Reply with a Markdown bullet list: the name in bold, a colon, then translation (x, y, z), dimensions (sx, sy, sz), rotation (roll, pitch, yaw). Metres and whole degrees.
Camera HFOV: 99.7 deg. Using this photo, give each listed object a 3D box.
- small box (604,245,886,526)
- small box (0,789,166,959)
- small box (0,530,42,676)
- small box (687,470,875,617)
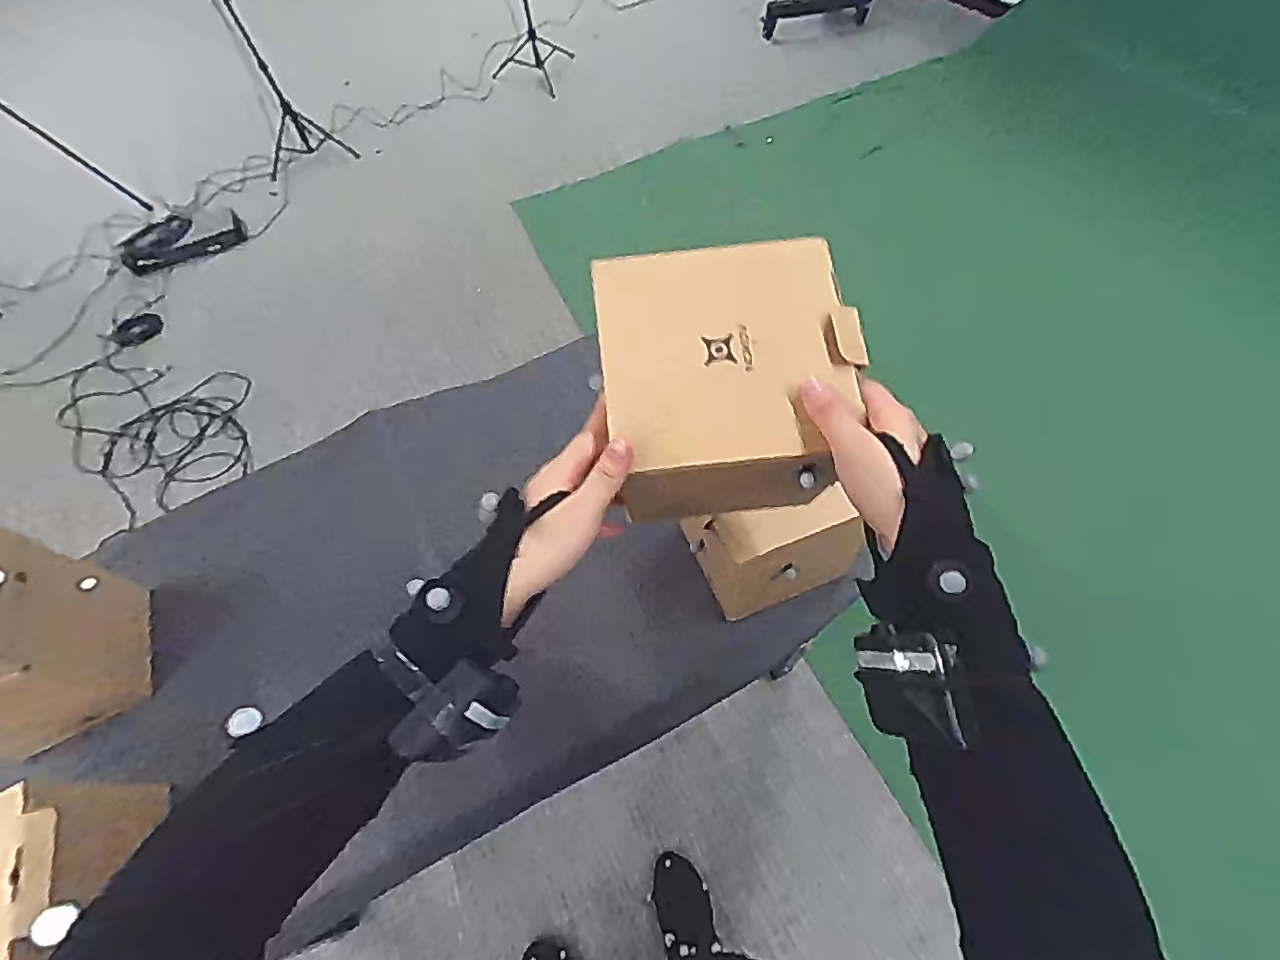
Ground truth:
- **small box**: translation (0.070, -0.063, 0.449), dimensions (0.179, 0.176, 0.168), rotation (-6, 74, 0)
- **small box**: translation (-0.616, 0.428, 0.531), dimensions (0.179, 0.176, 0.168), rotation (-25, 61, -9)
- **small box**: translation (-0.766, 0.133, 0.527), dimensions (0.179, 0.176, 0.168), rotation (-25, 62, -11)
- **small box**: translation (0.159, 0.049, 0.685), dimensions (0.179, 0.176, 0.168), rotation (-21, 55, -7)
